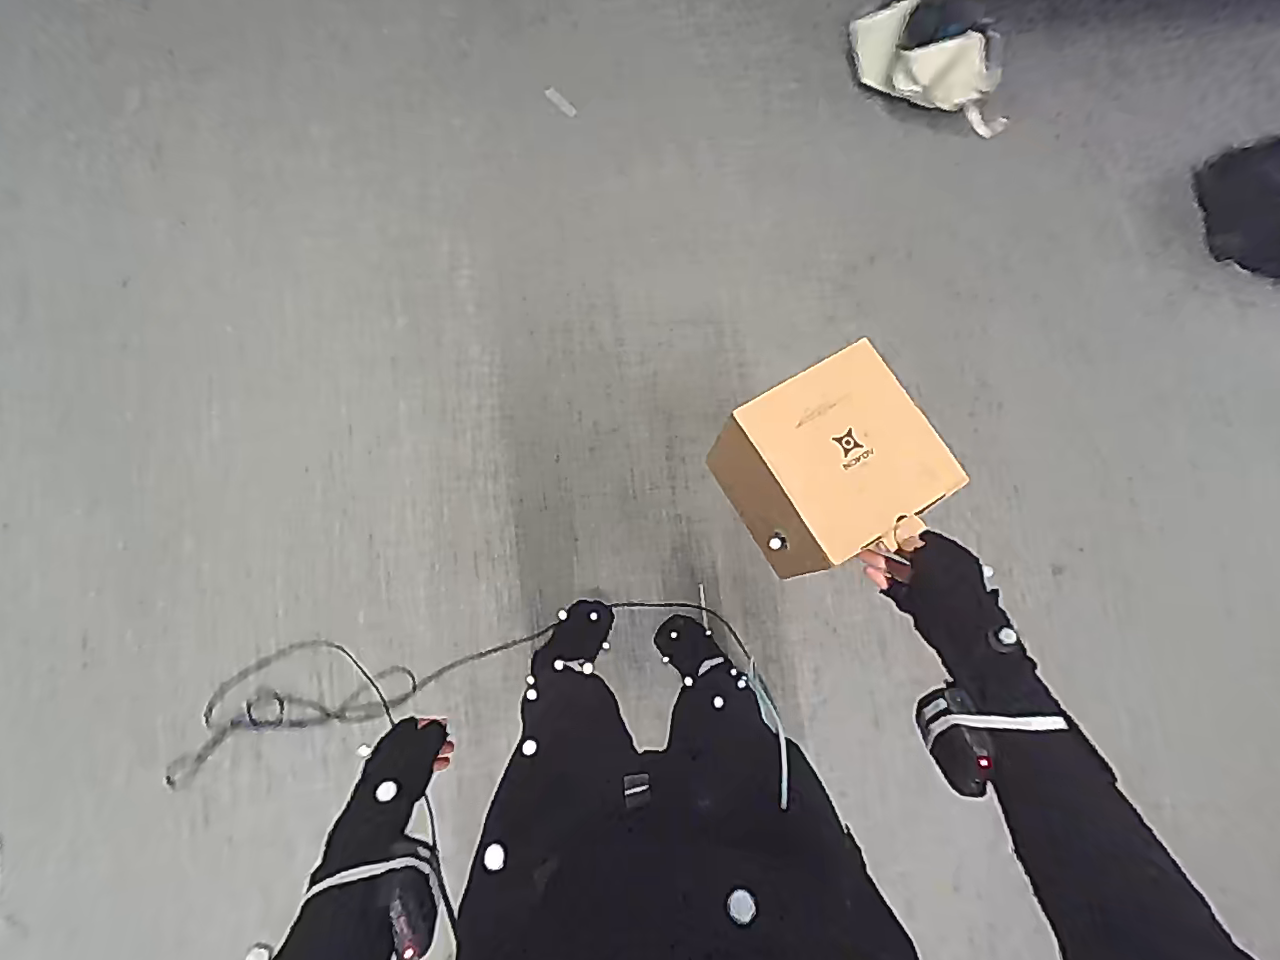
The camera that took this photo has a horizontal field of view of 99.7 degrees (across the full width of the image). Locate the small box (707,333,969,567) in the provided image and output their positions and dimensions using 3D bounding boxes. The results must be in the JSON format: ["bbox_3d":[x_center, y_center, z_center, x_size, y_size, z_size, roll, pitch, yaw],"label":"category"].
[{"bbox_3d":[0.193,-0.017,0.583,0.168,0.176,0.179,-30,79,-10],"label":"small box"}]
